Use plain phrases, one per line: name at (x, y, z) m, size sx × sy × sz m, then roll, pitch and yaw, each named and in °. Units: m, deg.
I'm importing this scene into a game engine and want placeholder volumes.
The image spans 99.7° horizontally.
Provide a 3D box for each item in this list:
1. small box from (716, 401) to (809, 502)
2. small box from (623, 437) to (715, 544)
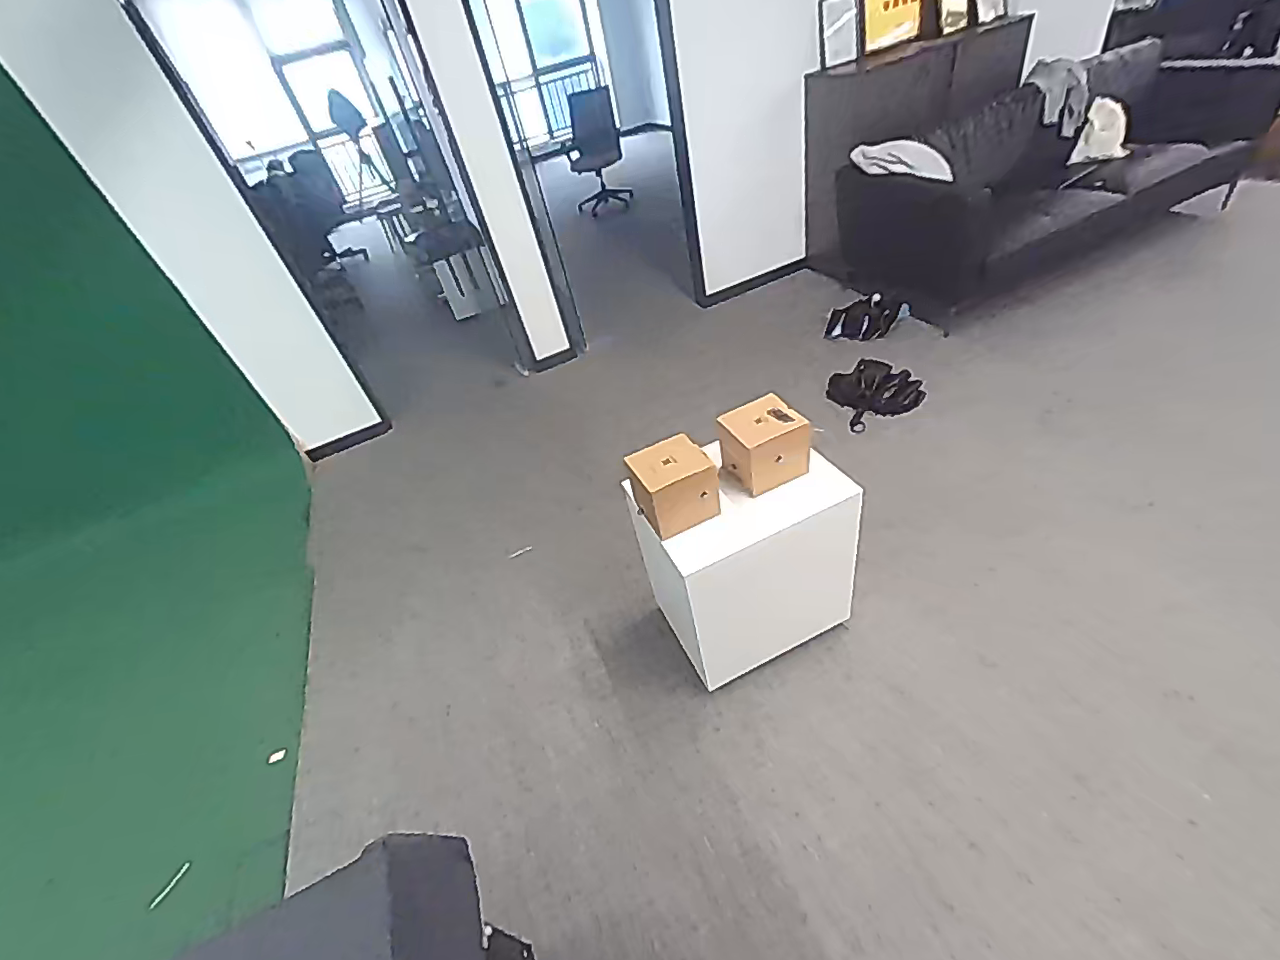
small box at (0.316, -0.075, 1.410) m, size 0.179 × 0.176 × 0.168 m, roll -23°, pitch 41°, yaw -11°
small box at (0.077, 0.027, 1.354) m, size 0.179 × 0.176 × 0.168 m, roll -24°, pitch 40°, yaw -14°
